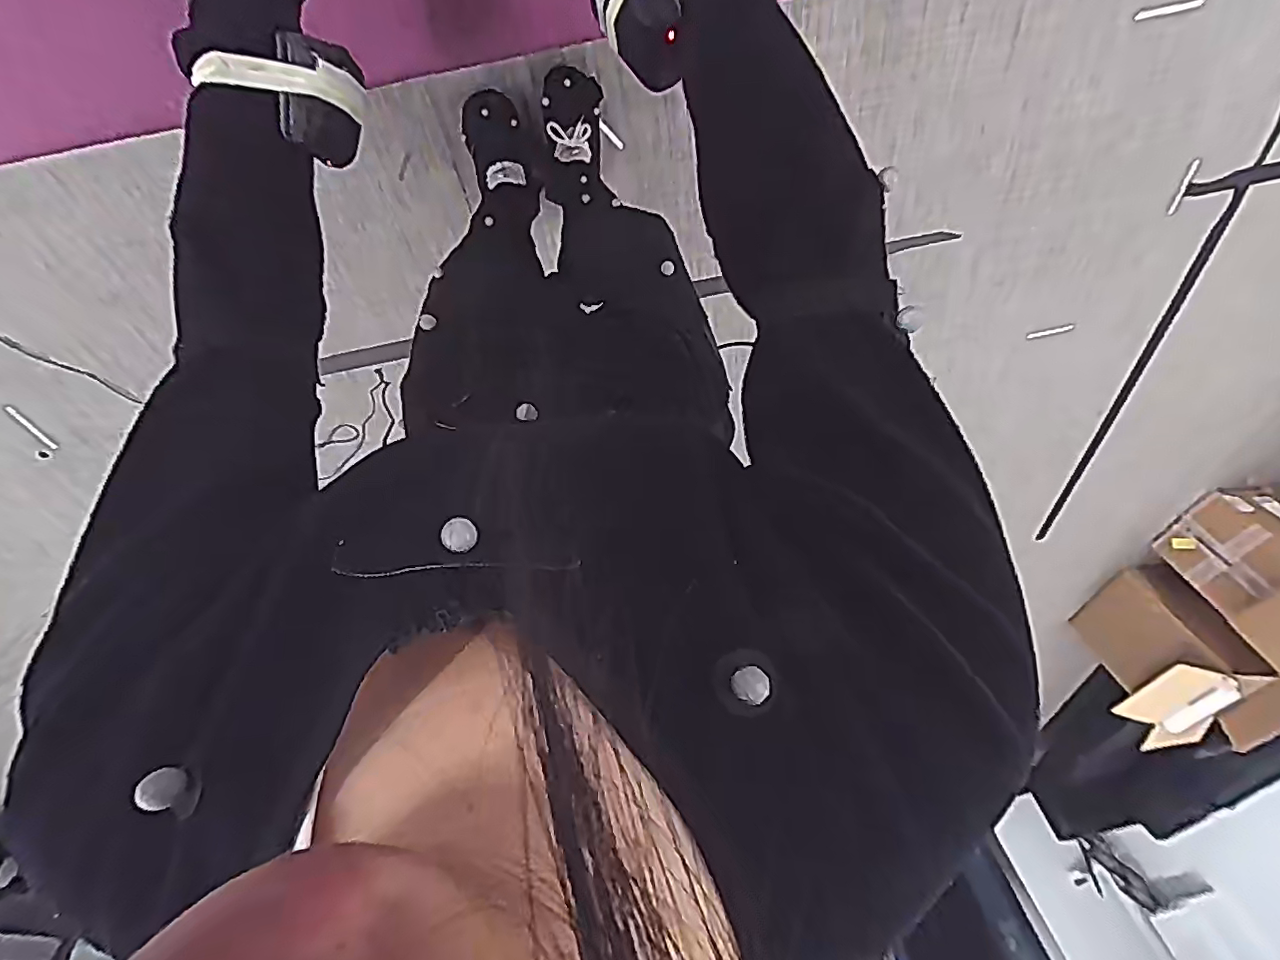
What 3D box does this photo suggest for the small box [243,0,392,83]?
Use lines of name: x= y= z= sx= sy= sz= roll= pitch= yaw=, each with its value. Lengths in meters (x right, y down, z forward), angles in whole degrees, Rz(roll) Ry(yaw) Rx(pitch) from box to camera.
small box: x=-0.538 y=-0.791 z=0.899 sx=0.168 sy=0.176 sz=0.179 roll=-12 pitch=133 yaw=-2
